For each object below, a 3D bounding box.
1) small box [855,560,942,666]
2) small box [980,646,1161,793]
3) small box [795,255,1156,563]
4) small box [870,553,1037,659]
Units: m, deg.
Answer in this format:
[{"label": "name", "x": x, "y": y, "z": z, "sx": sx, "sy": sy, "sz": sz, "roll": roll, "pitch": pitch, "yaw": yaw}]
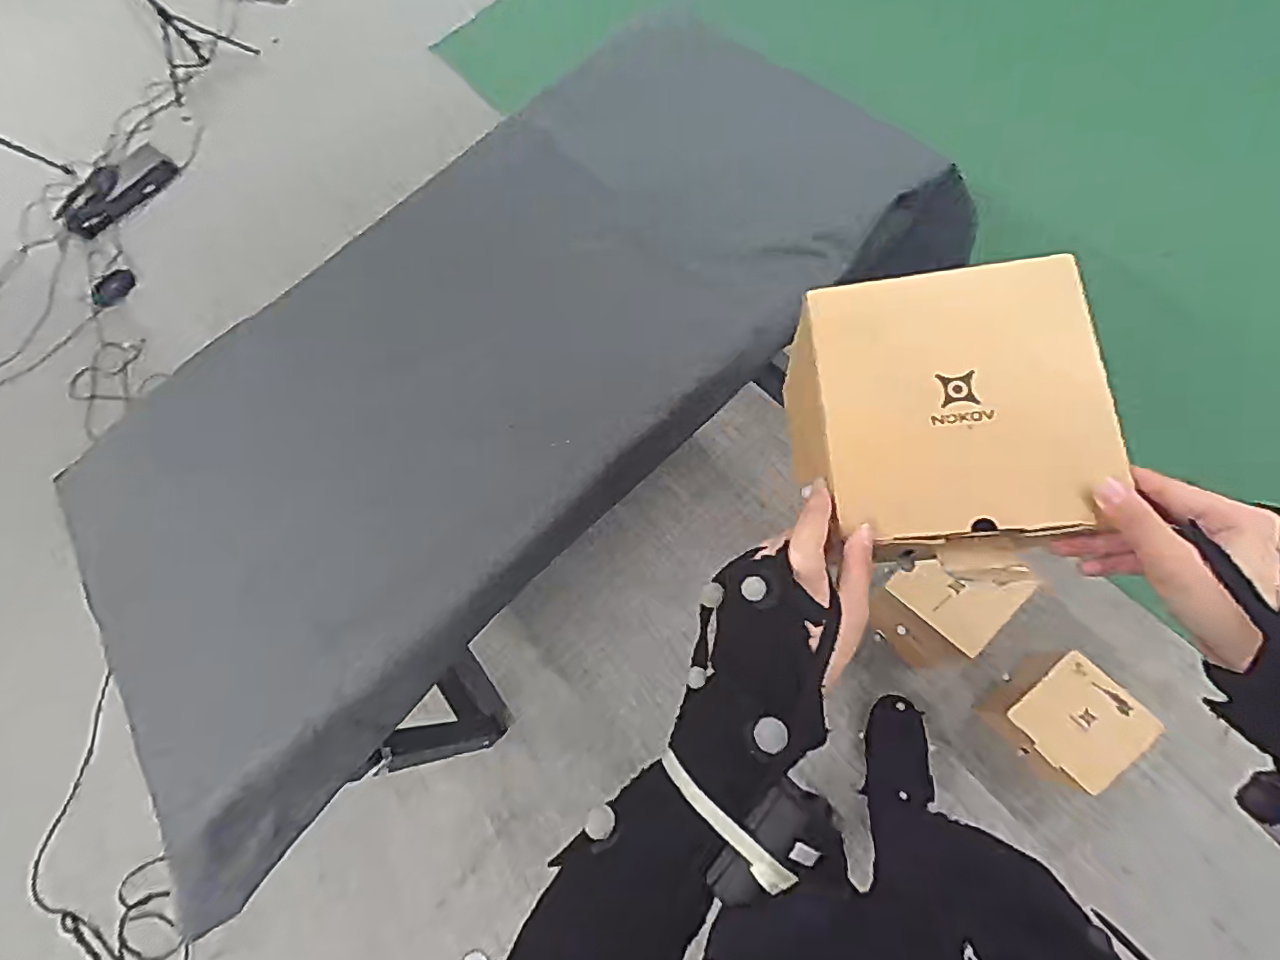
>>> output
[{"label": "small box", "x": 0.562, "y": 0.254, "z": 1.096, "sx": 0.179, "sy": 0.176, "sz": 0.168, "roll": -45, "pitch": 66, "yaw": -6}, {"label": "small box", "x": 0.761, "y": 0.427, "z": 0.986, "sx": 0.179, "sy": 0.176, "sz": 0.168, "roll": -41, "pitch": 68, "yaw": -2}, {"label": "small box", "x": 0.215, "y": -0.035, "z": 0.407, "sx": 0.168, "sy": 0.176, "sz": 0.179, "roll": -5, "pitch": 77, "yaw": 9}, {"label": "small box", "x": 0.531, "y": 0.191, "z": 0.947, "sx": 0.179, "sy": 0.176, "sz": 0.168, "roll": -45, "pitch": 66, "yaw": -5}]
